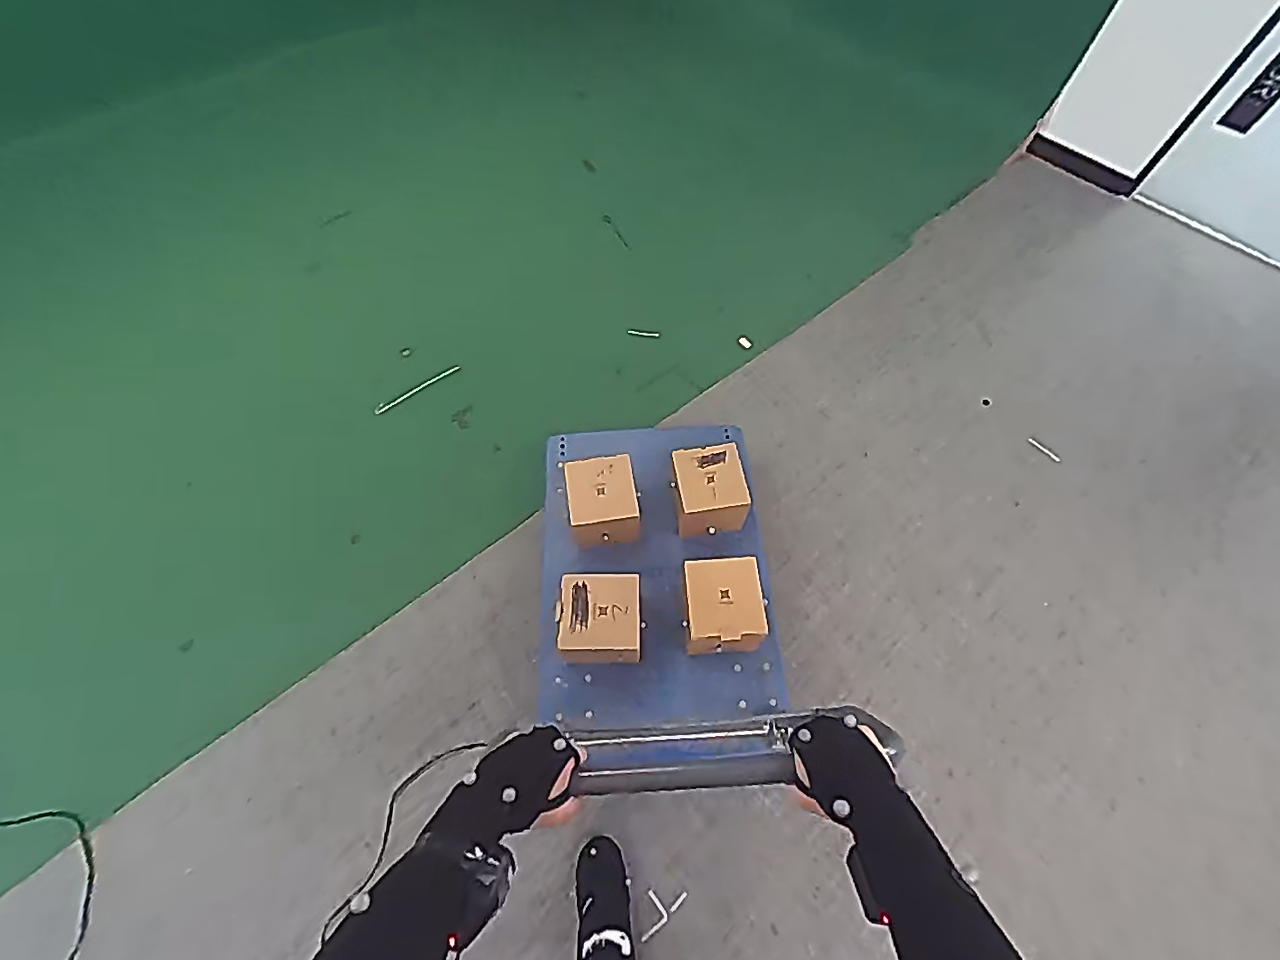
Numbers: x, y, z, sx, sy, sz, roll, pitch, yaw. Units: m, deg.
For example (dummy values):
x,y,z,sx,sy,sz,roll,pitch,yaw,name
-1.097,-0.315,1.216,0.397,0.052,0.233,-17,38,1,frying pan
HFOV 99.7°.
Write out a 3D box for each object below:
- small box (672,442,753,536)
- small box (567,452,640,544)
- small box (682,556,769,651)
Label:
x,y,z,sx,sy,sz,roll,pitch,yaw,name
0.178,0.026,1.391,0.168,0.176,0.179,-8,64,-3,small box
-0.090,0.053,1.376,0.168,0.176,0.179,-7,63,-5,small box
0.190,0.289,1.255,0.168,0.176,0.179,-3,63,-1,small box
